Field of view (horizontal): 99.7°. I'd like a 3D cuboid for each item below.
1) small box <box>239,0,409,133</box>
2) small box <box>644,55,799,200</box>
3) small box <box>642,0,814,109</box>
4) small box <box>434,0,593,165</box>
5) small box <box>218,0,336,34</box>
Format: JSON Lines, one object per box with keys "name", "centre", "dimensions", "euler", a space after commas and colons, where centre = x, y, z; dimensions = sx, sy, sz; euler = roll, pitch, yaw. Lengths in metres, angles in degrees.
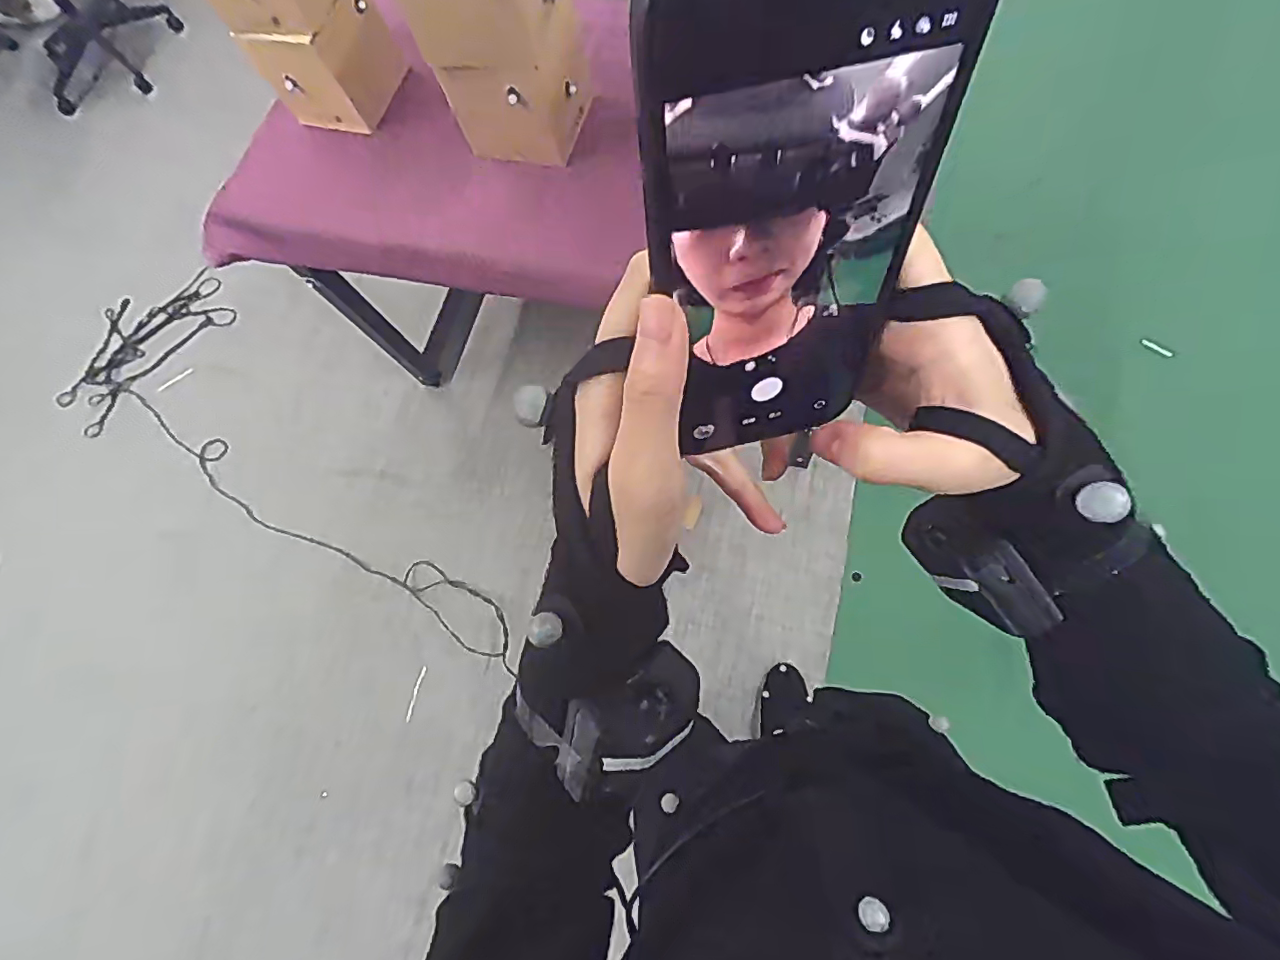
{"name": "small box", "centre": [-0.553, -0.766, 0.974], "dimensions": [0.168, 0.176, 0.179], "euler": [15, 75, 13]}
{"name": "small box", "centre": [0.126, -0.554, 0.805], "dimensions": [0.179, 0.176, 0.168], "euler": [21, 76, 15]}
{"name": "small box", "centre": [0.106, -0.587, 0.645], "dimensions": [0.179, 0.176, 0.168], "euler": [21, 76, 14]}
{"name": "small box", "centre": [-0.191, -0.651, 0.882], "dimensions": [0.179, 0.176, 0.168], "euler": [15, 75, 13]}
{"name": "small box", "centre": [-0.575, -0.822, 0.821], "dimensions": [0.168, 0.176, 0.179], "euler": [10, 75, 11]}
